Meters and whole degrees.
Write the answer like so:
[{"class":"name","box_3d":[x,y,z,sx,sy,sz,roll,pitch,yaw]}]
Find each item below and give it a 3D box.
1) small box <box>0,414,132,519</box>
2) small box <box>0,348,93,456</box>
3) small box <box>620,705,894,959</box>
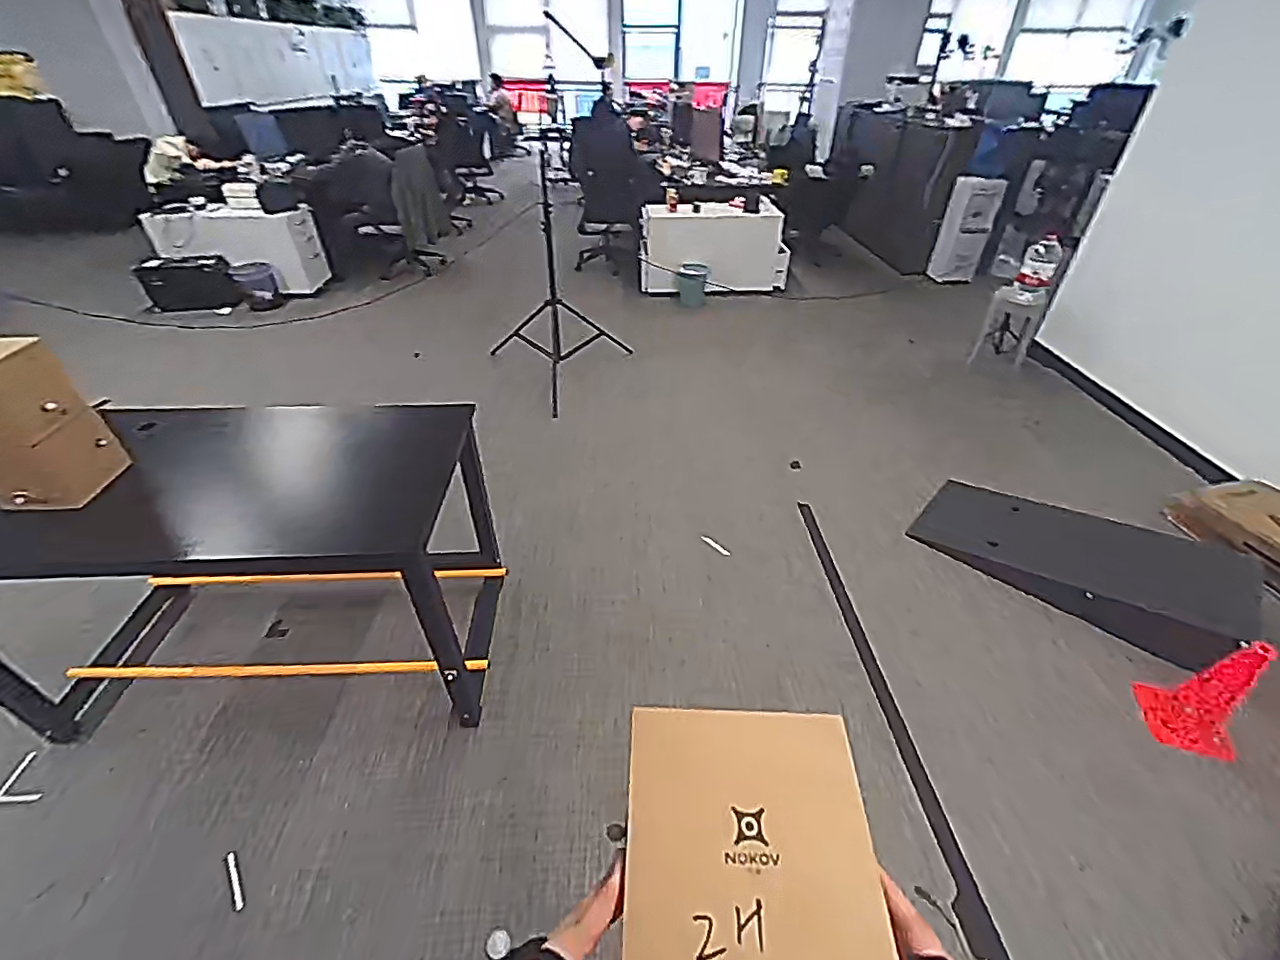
[{"class":"small box","box_3d":[-1.318,-0.032,1.224,0.168,0.176,0.179,-3,39,-3]},{"class":"small box","box_3d":[-1.321,-0.158,1.118,0.179,0.176,0.168,-3,38,-4]},{"class":"small box","box_3d":[0.071,0.299,0.420,0.168,0.176,0.179,1,44,1]}]
